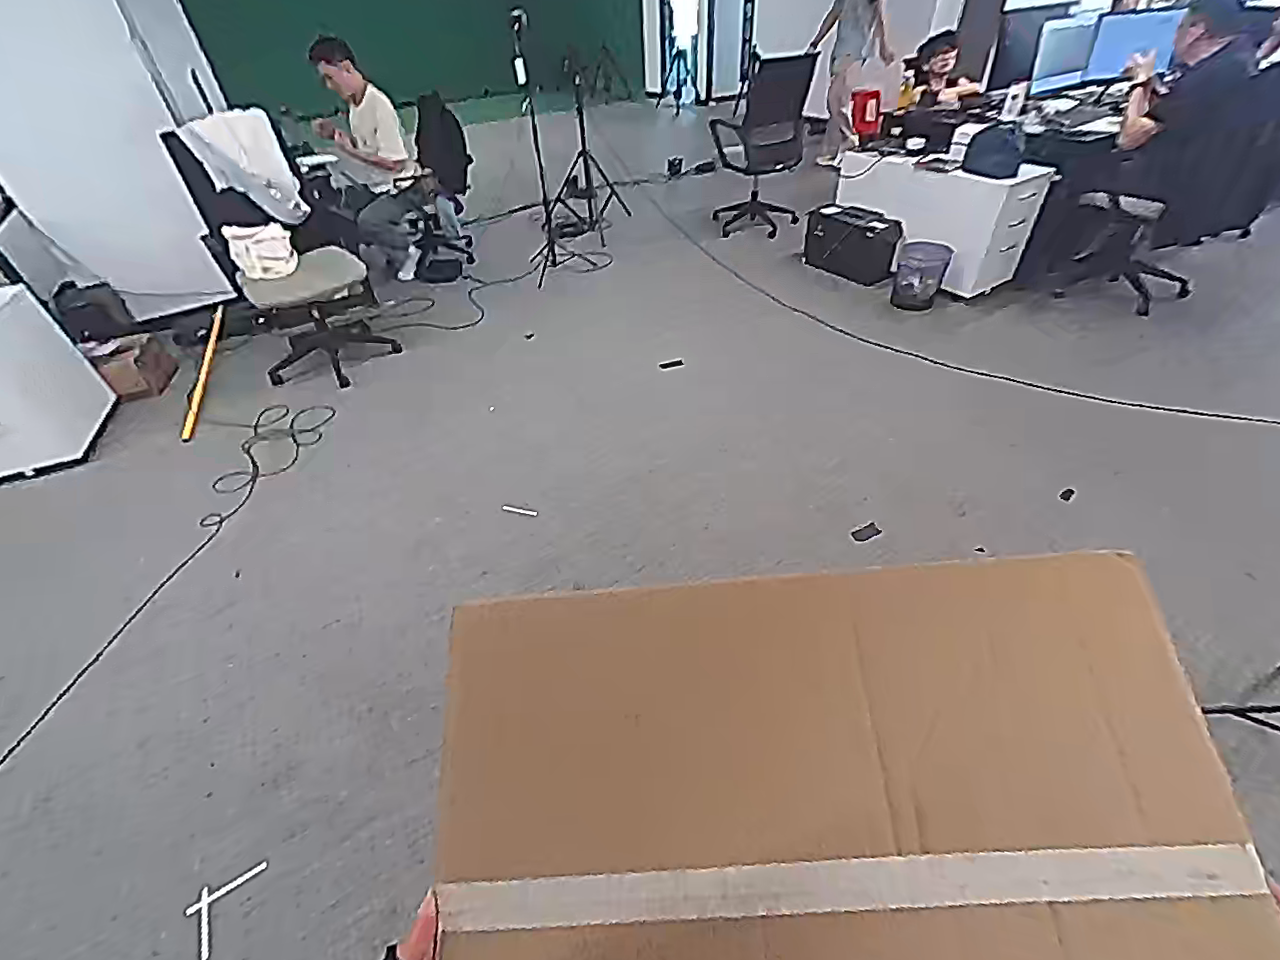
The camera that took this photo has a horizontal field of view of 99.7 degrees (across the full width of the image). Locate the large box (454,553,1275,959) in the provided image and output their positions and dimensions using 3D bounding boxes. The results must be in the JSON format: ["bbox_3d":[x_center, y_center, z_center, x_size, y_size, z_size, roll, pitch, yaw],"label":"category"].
[{"bbox_3d":[0.110,0.258,0.420,0.408,0.320,0.320,-5,70,4],"label":"large box"}]
